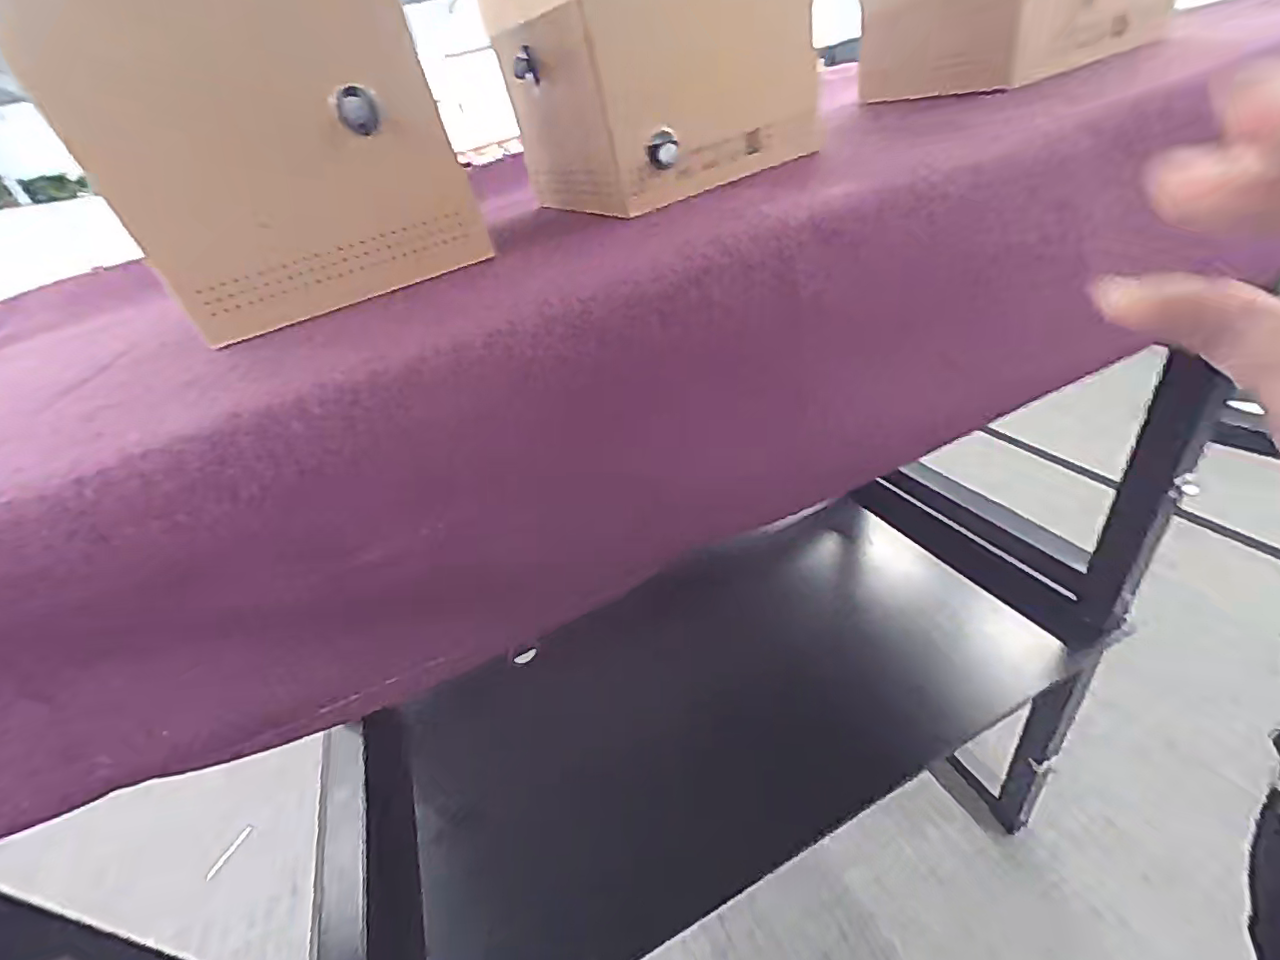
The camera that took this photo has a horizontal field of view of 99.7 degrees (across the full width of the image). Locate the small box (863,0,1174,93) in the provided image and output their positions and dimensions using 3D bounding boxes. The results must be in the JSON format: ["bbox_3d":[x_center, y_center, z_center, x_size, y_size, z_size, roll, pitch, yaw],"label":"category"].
[{"bbox_3d":[0.299,-0.433,0.435,0.168,0.176,0.179,-23,36,-9],"label":"small box"}]

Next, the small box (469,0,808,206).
[{"bbox_3d":[-0.001,-0.303,0.378,0.168,0.176,0.179,-28,36,-17],"label":"small box"}]

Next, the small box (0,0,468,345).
[{"bbox_3d":[-0.221,-0.207,0.334,0.179,0.176,0.168,-25,36,-12],"label":"small box"}]
